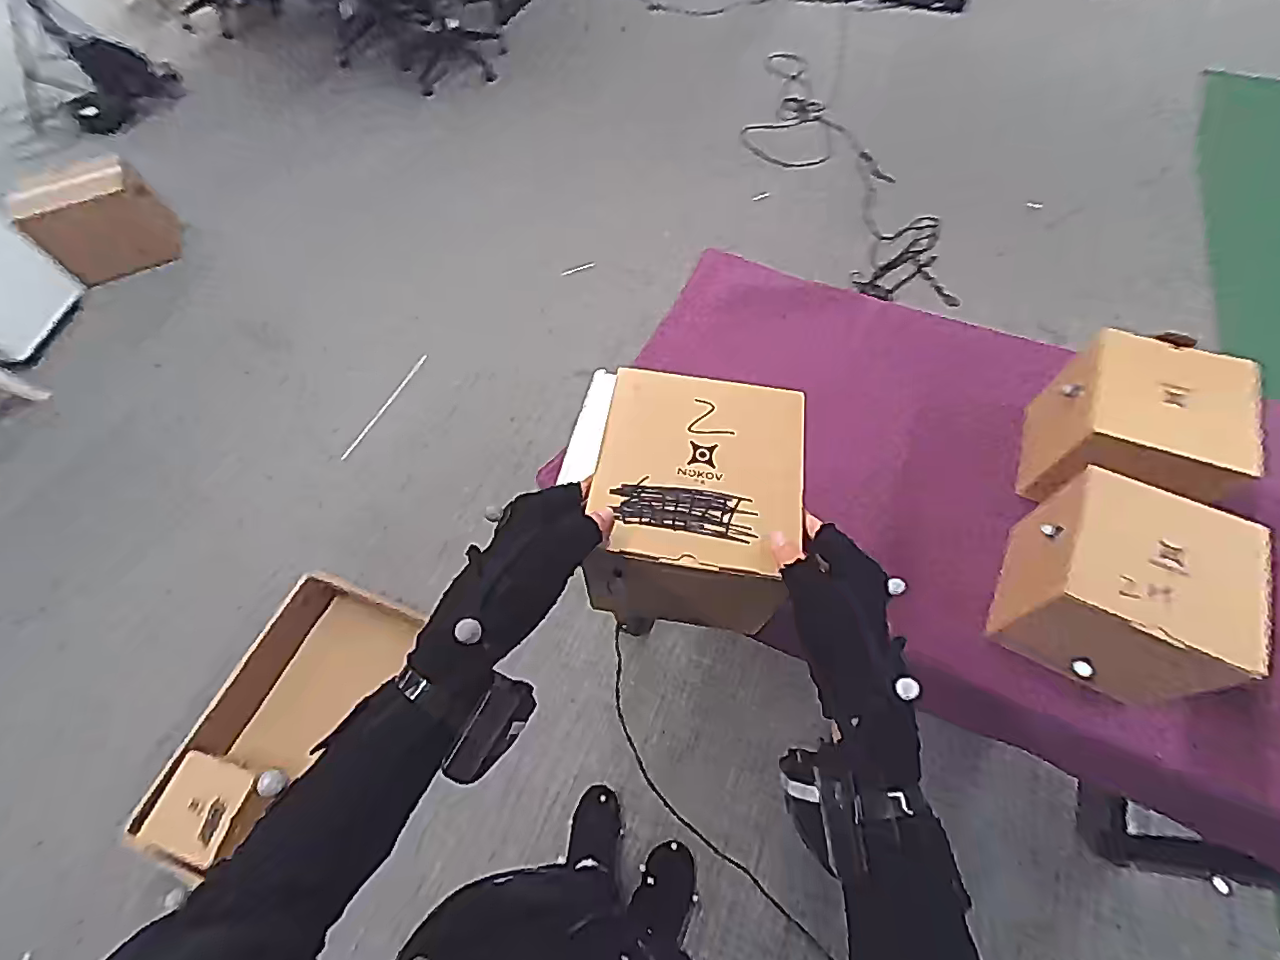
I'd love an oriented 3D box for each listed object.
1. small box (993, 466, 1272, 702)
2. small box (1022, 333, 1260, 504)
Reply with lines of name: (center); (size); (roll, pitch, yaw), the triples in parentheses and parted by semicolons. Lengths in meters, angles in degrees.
small box: (0.537, 0.121, 0.611); (0.168, 0.176, 0.179); (26, 64, 18)
small box: (0.640, -0.056, 0.712); (0.168, 0.176, 0.179); (20, 63, 15)
